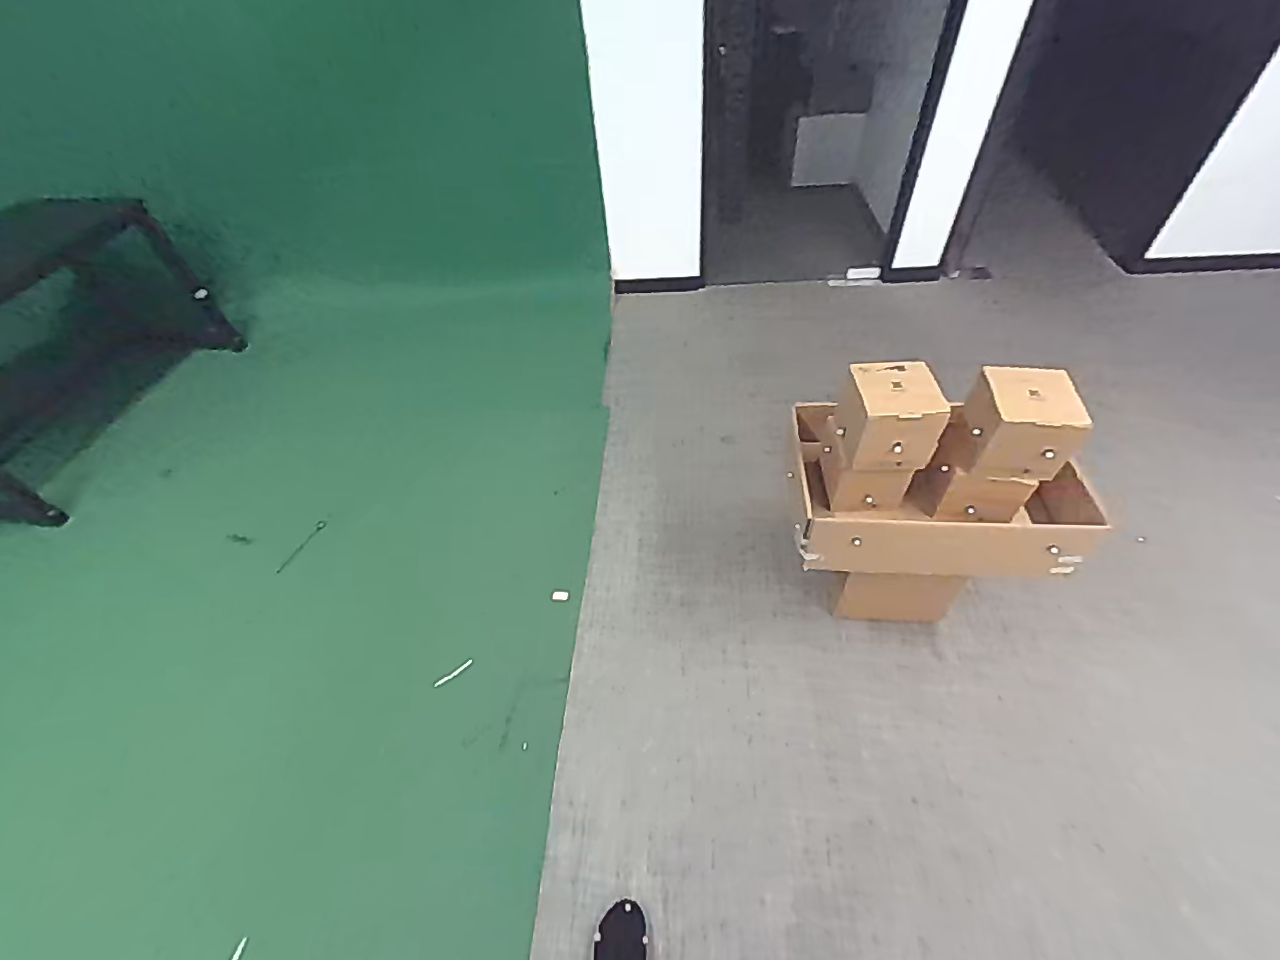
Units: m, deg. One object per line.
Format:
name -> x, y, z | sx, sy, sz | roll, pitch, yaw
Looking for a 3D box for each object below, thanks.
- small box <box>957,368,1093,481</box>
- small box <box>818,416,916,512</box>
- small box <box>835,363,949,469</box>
small box -> 0.811, -0.118, 1.161 | 0.168, 0.176, 0.179 | 6, 49, 9
small box -> 0.548, -0.040, 1.330 | 0.168, 0.176, 0.179 | -2, 49, 4
small box -> 0.546, -0.137, 1.197 | 0.168, 0.176, 0.179 | -1, 49, 3
